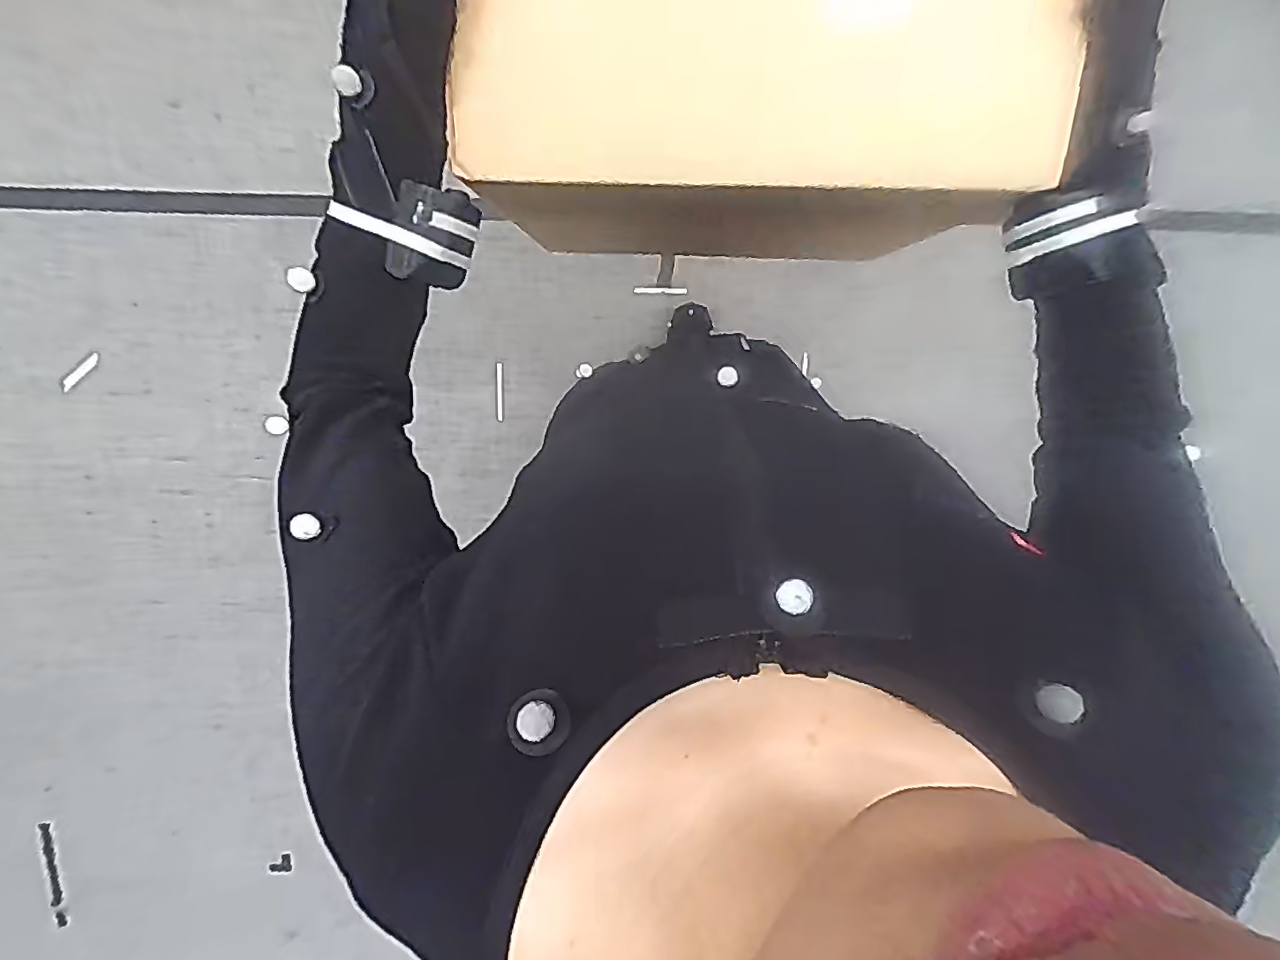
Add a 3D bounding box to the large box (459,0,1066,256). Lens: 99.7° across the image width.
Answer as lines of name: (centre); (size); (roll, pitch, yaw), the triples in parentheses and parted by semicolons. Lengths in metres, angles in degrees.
large box: (0.080, -0.394, 0.487); (0.408, 0.320, 0.320); (1, 104, 1)
